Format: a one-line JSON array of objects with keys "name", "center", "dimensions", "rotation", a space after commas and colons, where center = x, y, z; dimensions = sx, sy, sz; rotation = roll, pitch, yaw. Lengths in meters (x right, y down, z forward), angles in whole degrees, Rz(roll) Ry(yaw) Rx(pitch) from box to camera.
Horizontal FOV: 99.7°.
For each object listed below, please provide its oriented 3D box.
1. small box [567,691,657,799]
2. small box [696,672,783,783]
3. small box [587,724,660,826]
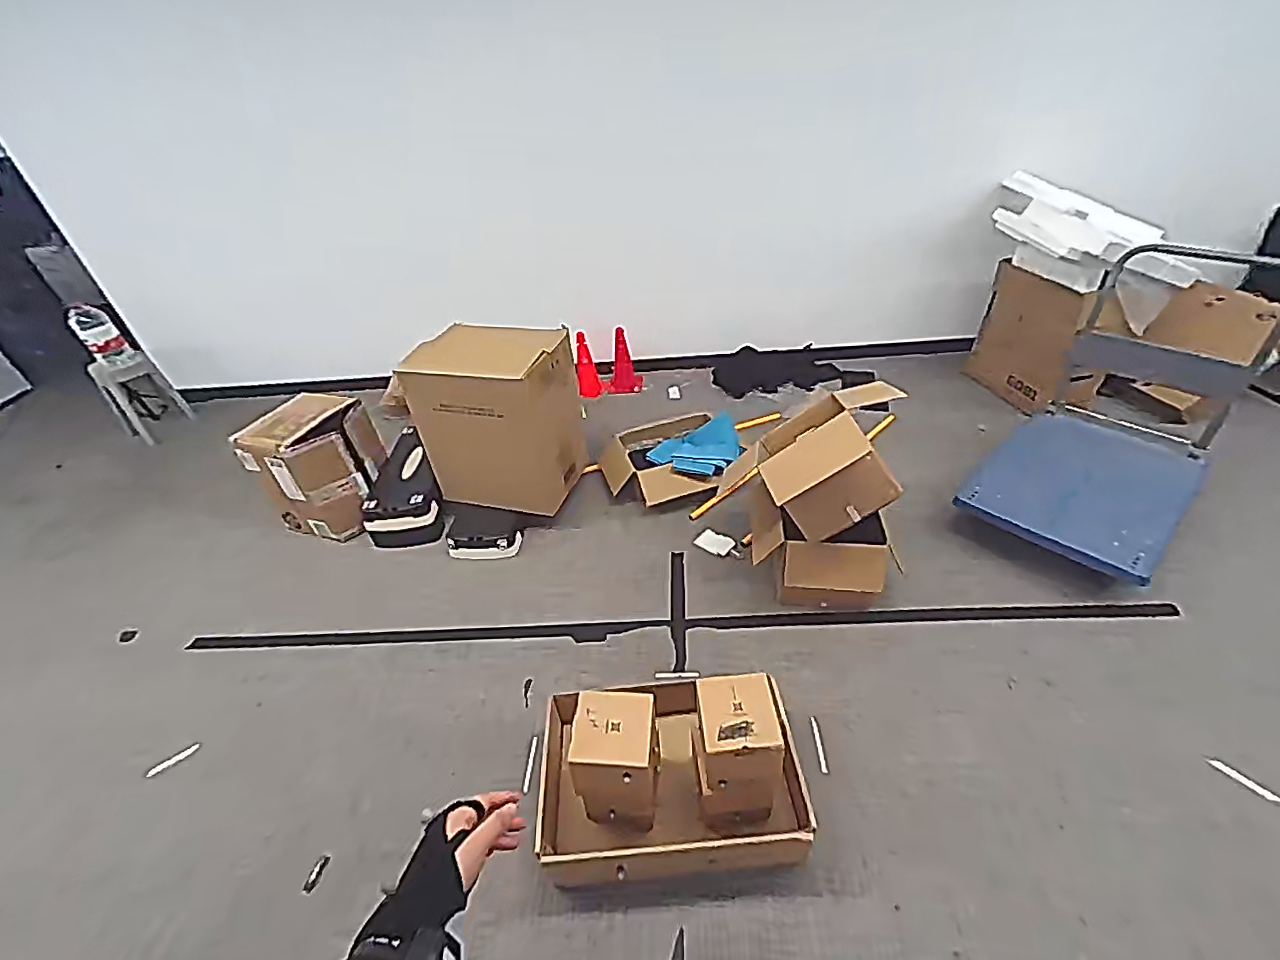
[{"name": "small box", "center": [-0.054, 0.604, 1.230], "dimensions": [0.179, 0.176, 0.168], "rotation": [0, 37, 6]}, {"name": "small box", "center": [0.223, 0.569, 1.233], "dimensions": [0.168, 0.176, 0.179], "rotation": [-6, 36, 1]}, {"name": "small box", "center": [-0.039, 0.724, 1.345], "dimensions": [0.168, 0.176, 0.179], "rotation": [2, 38, 8]}]
